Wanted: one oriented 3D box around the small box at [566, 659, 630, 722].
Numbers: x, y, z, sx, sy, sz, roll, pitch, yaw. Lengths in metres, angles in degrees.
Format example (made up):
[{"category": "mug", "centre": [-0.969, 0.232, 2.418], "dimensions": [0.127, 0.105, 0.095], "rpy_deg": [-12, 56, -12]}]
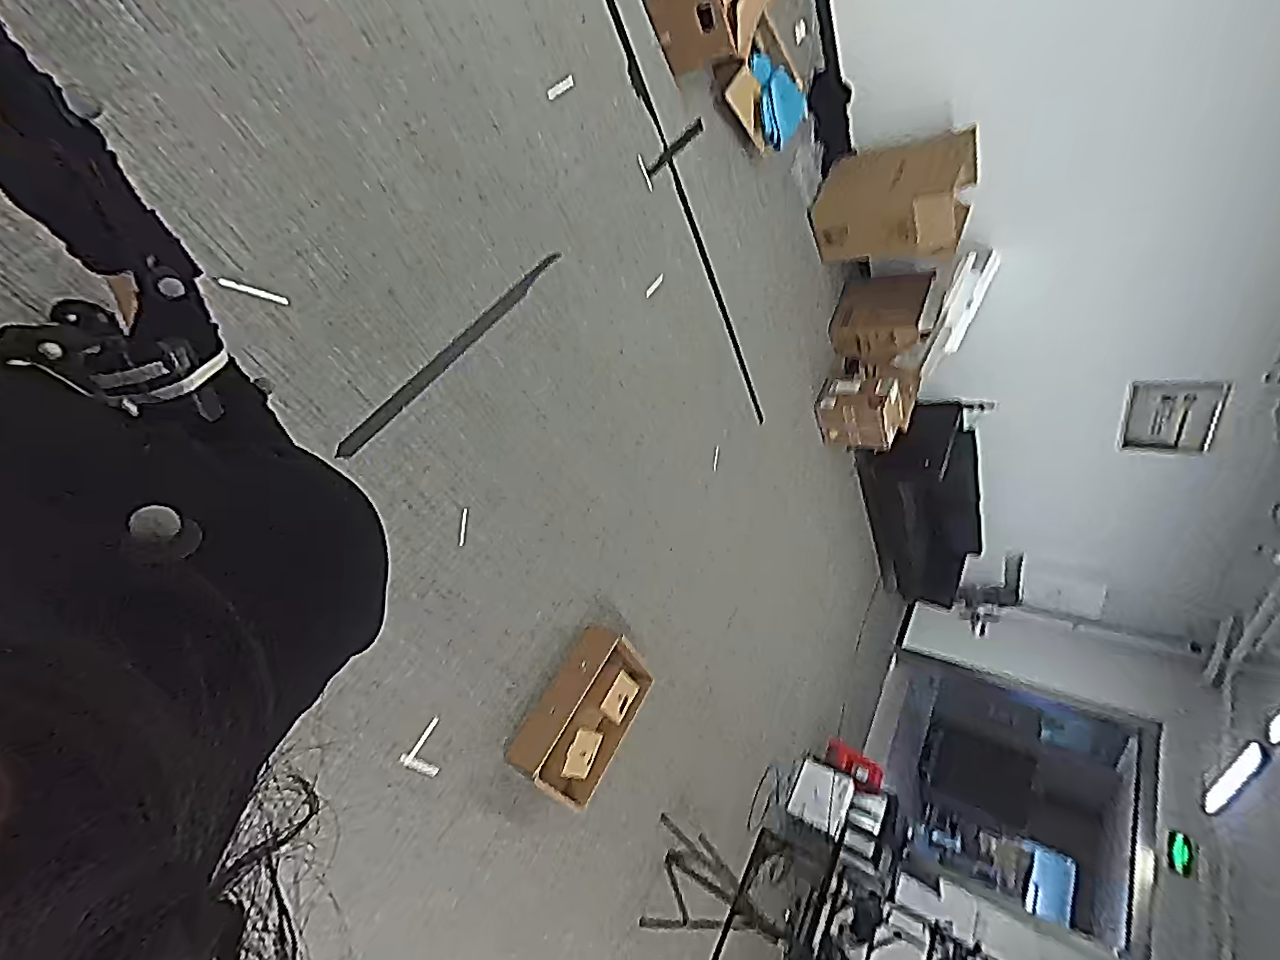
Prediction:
[{"category": "small box", "centre": [-0.178, 0.882, 2.277], "dimensions": [0.168, 0.176, 0.179], "rpy_deg": [-56, 136, -27]}]
